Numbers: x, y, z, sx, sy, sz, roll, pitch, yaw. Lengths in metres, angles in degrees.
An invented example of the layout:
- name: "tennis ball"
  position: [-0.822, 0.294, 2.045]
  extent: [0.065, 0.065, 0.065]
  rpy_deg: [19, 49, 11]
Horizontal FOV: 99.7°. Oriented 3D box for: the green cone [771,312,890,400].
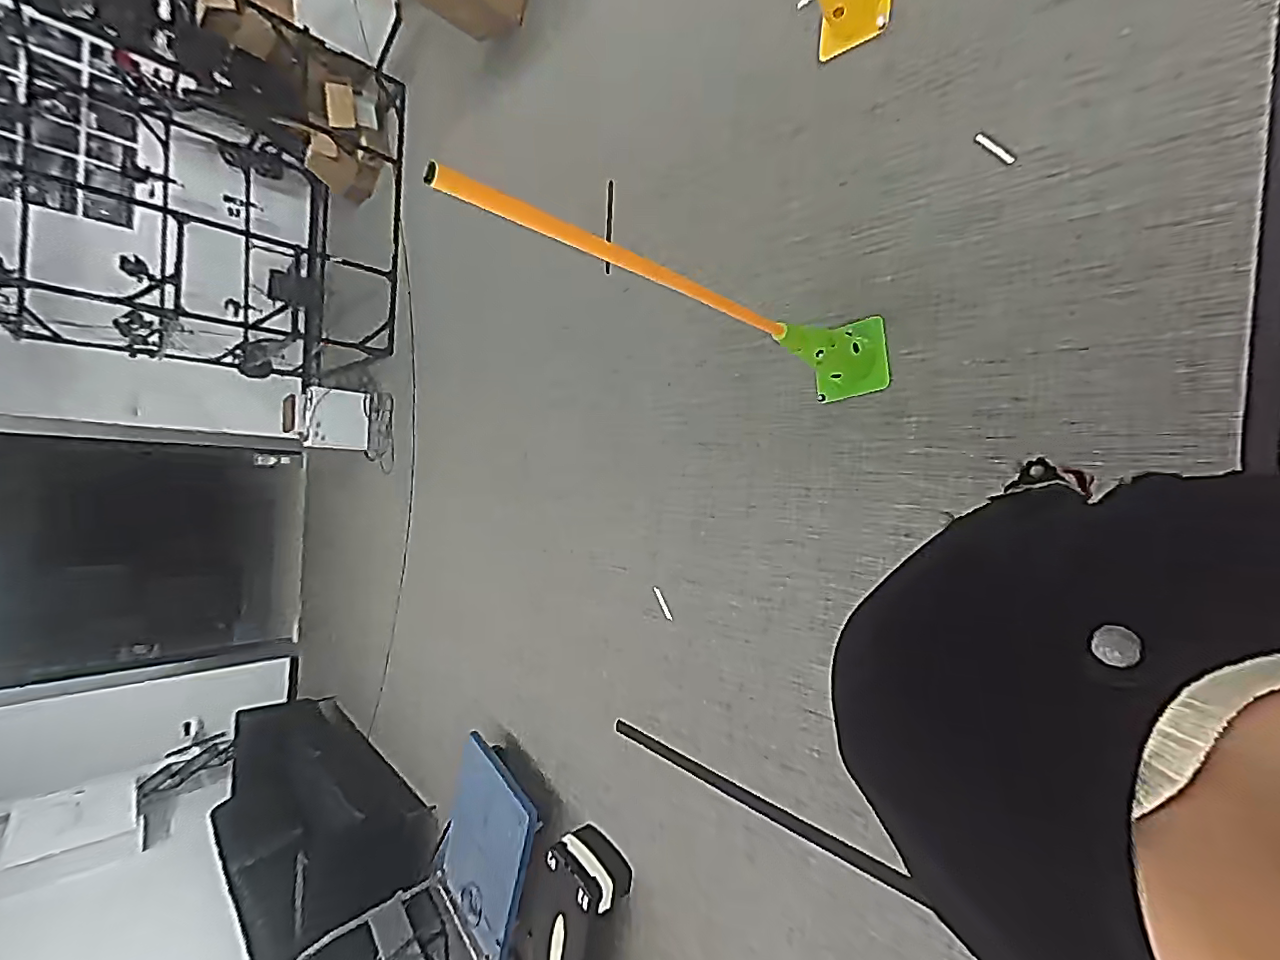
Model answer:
- name: "green cone"
  position: [0.444, -0.342, 1.341]
  extent: [0.200, 0.368, 0.202]
  rpy_deg: [-11, 78, 45]
